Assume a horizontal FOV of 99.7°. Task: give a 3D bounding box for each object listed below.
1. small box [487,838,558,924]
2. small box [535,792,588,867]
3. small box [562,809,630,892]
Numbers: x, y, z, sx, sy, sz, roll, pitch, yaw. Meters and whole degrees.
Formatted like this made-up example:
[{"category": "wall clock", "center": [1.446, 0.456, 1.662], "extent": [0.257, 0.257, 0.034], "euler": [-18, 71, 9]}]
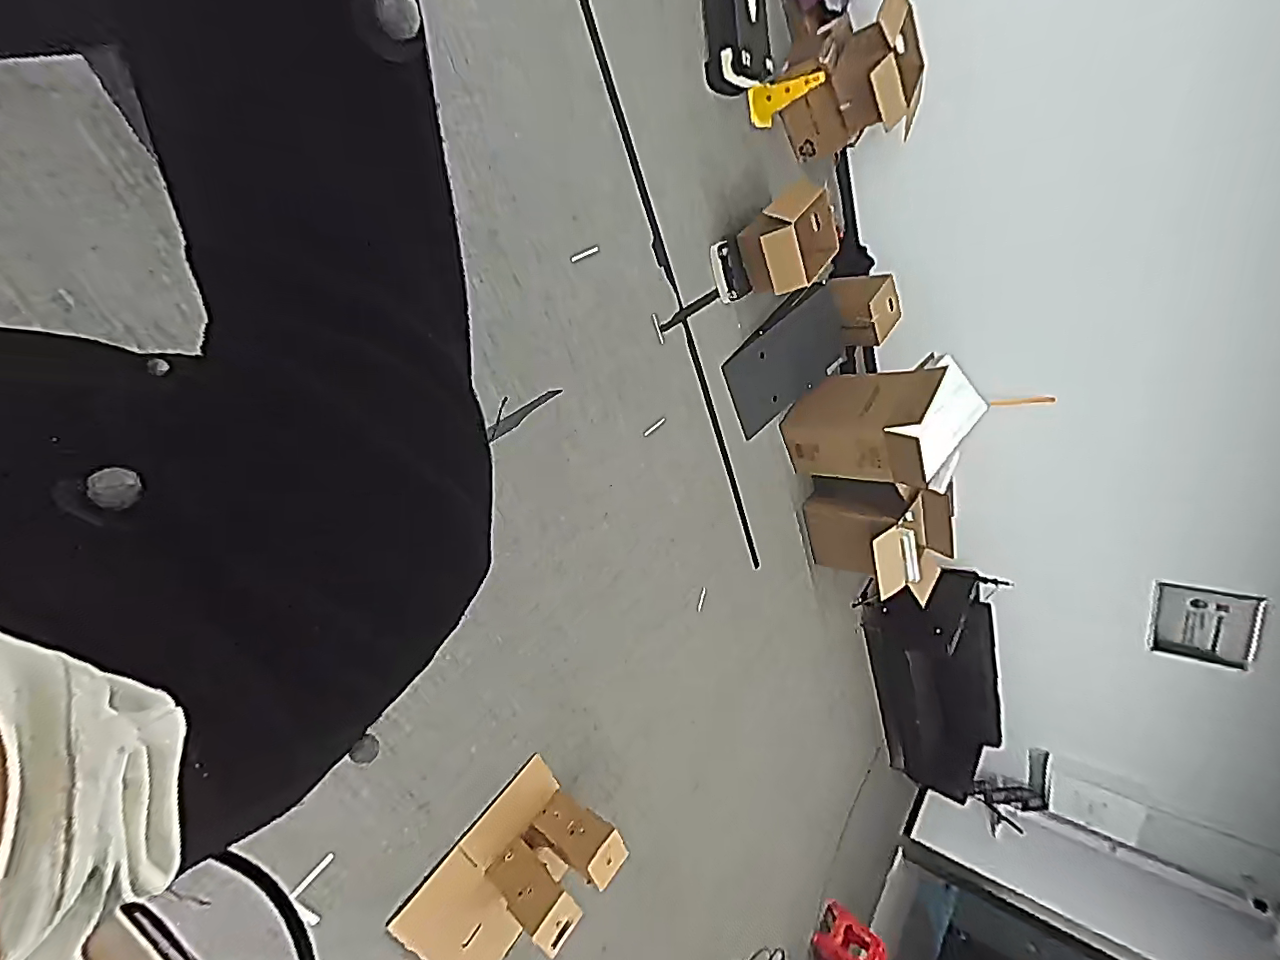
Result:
[{"category": "small box", "center": [-0.447, 1.518, 2.059], "extent": [0.168, 0.176, 0.179], "euler": [-38, 121, -37]}, {"category": "small box", "center": [-0.300, 1.410, 2.198], "extent": [0.168, 0.176, 0.179], "euler": [-40, 121, -37]}, {"category": "small box", "center": [-0.172, 1.426, 2.094], "extent": [0.168, 0.176, 0.179], "euler": [-39, 122, -37]}]
